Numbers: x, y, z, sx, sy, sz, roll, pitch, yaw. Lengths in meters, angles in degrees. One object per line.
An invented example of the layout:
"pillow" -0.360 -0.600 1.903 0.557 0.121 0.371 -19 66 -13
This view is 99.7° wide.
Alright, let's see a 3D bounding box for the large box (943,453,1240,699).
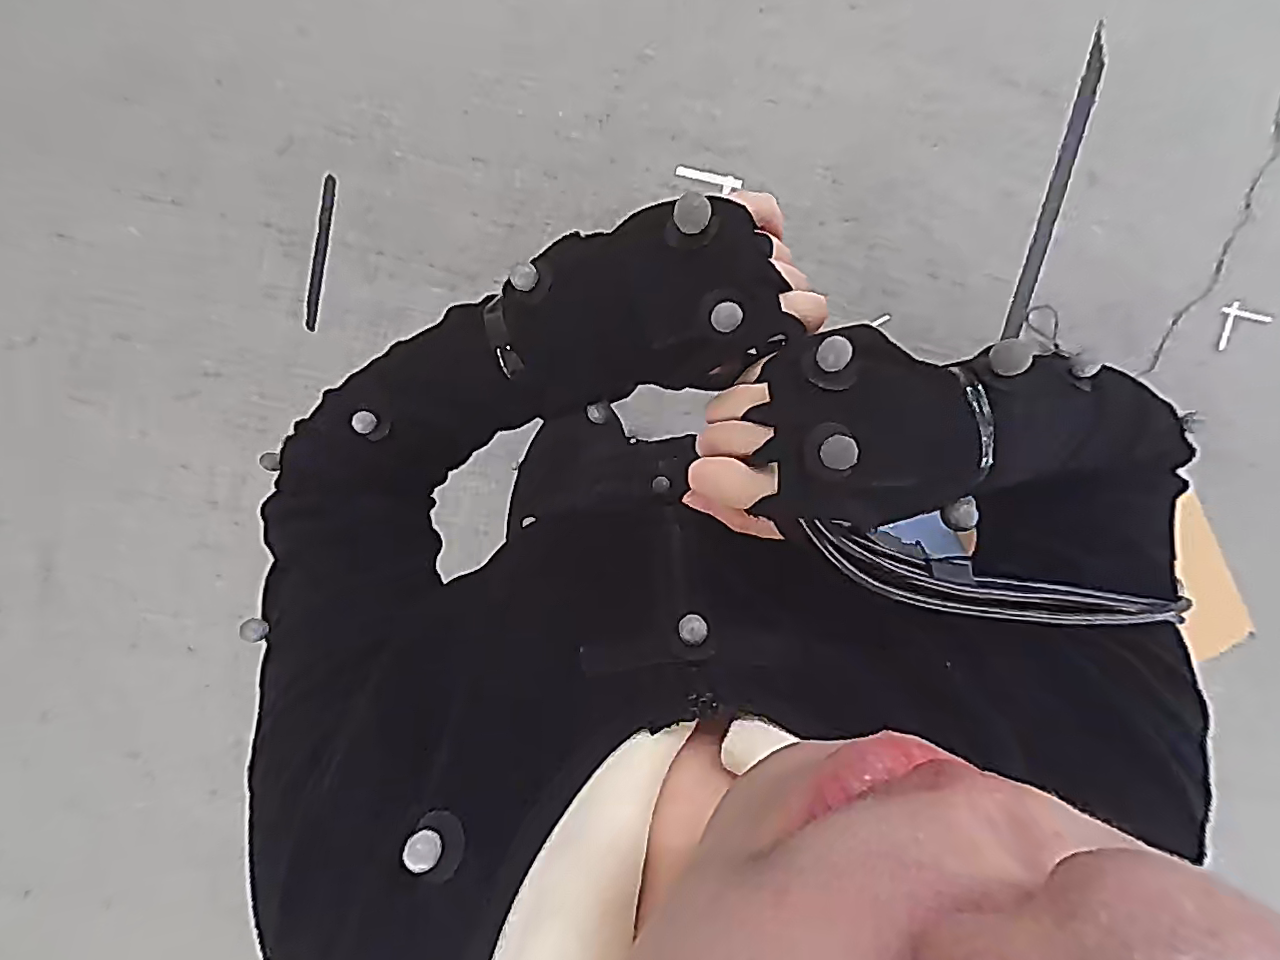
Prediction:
"large box" 0.987 0.190 1.226 0.320 0.320 0.408 -29 97 1
